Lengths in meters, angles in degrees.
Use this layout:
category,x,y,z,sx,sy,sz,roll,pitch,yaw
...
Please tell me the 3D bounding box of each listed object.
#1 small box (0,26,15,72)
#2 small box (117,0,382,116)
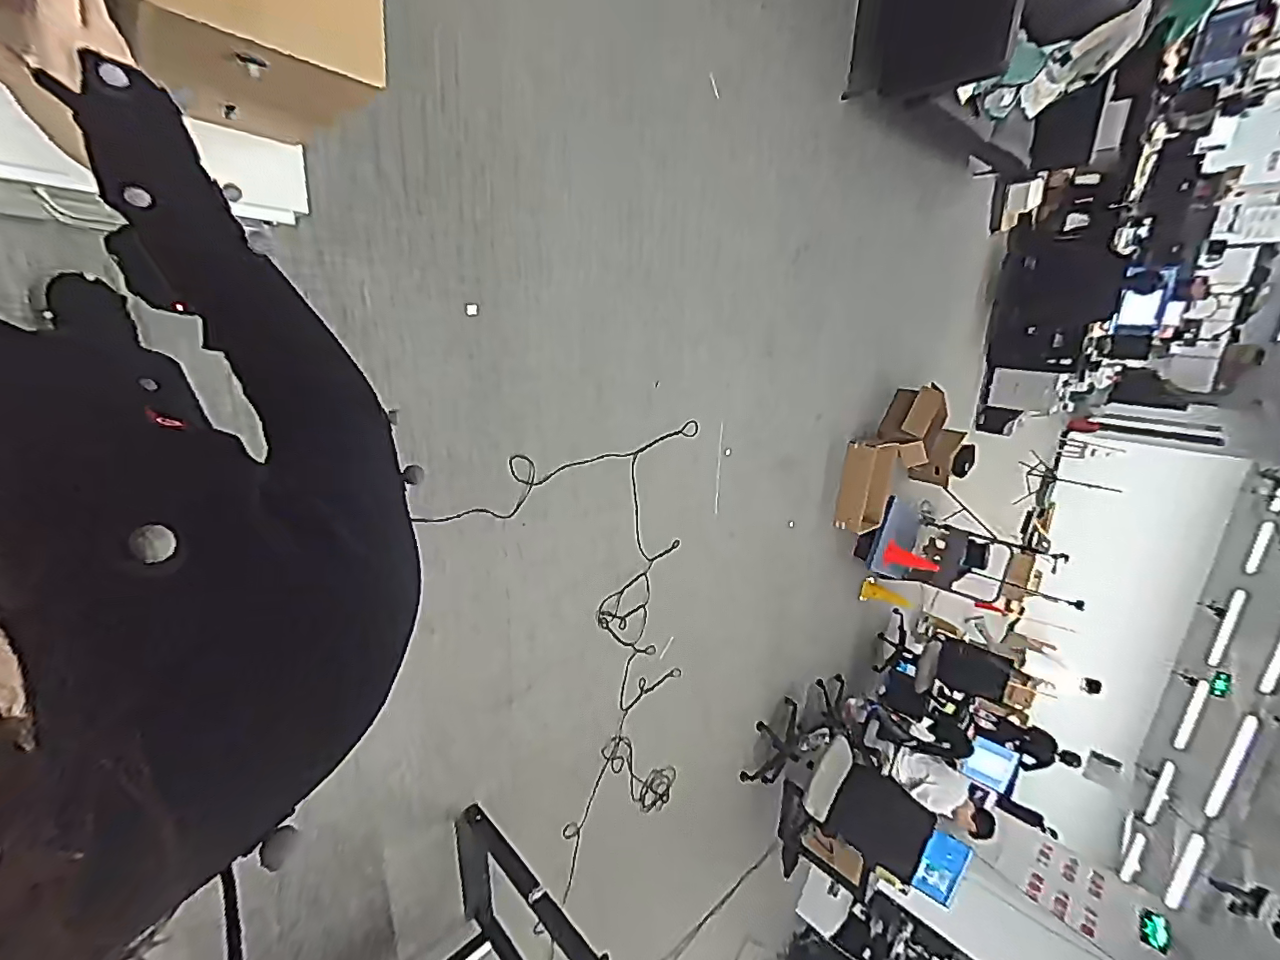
category,x,y,z,sx,sy,sz,roll,pitch,yaw
small box,-0.637,-0.465,0.428,0.168,0.176,0.179,-12,112,-46
small box,-0.354,-0.457,0.485,0.179,0.176,0.168,-10,111,-44
